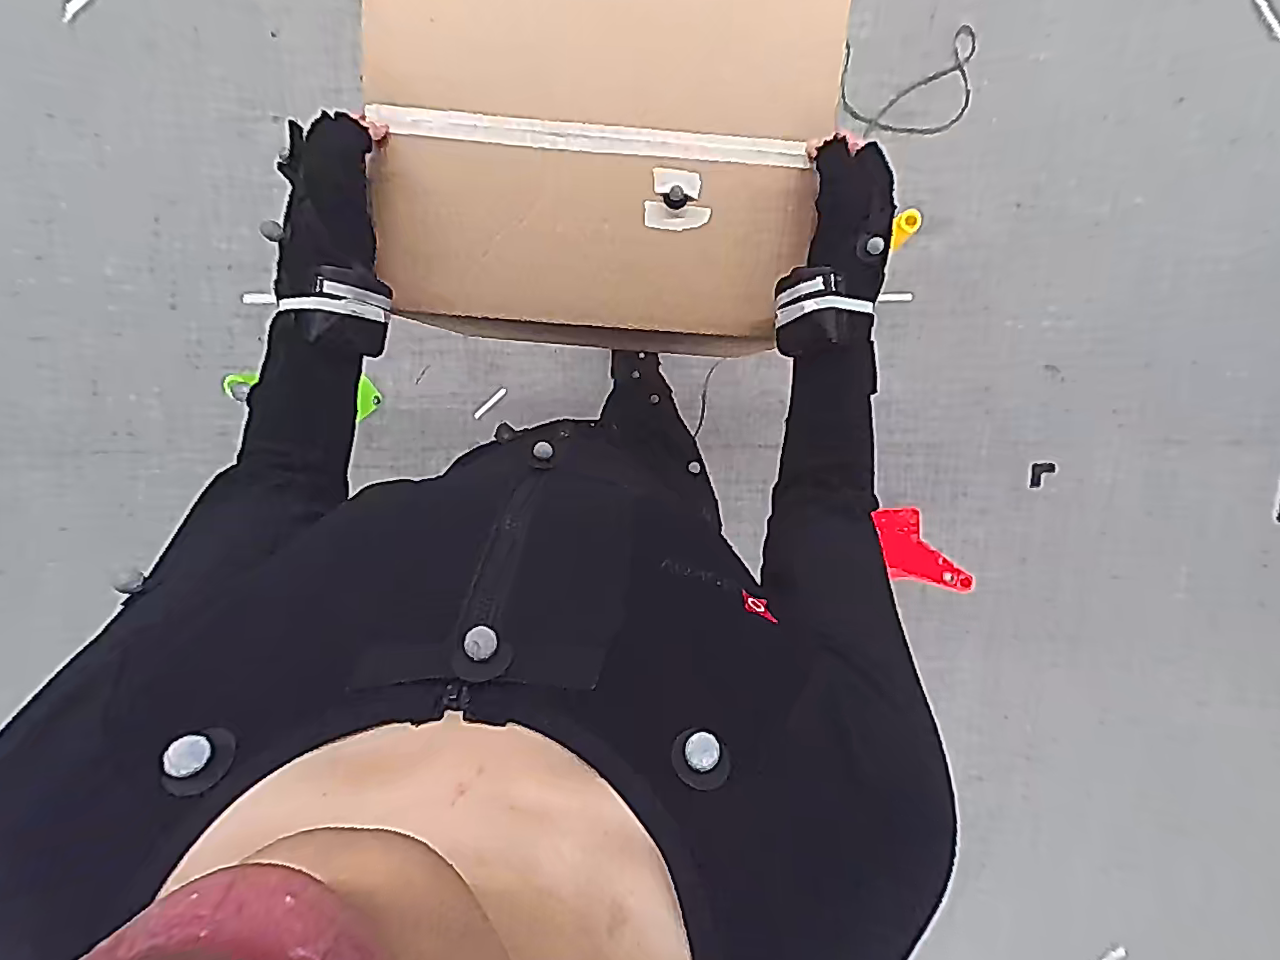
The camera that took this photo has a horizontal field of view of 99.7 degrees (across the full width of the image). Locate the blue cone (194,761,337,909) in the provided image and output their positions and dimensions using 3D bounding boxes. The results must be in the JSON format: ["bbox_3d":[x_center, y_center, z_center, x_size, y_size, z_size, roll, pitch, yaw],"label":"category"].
[{"bbox_3d":[-0.950,0.902,1.365,0.192,0.380,0.193,3,97,-1],"label":"blue cone"}]

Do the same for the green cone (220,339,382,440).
[{"bbox_3d":[-0.791,-0.209,1.219,0.202,0.368,0.200,-37,96,4],"label":"green cone"}]

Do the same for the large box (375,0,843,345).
[{"bbox_3d":[-0.037,-0.334,0.622,0.408,0.320,0.320,3,100,-3],"label":"large box"}]

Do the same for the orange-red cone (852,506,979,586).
[{"bbox_3d":[0.691,0.189,1.320,0.198,0.360,0.199,-3,96,-3],"label":"orange-red cone"}]
